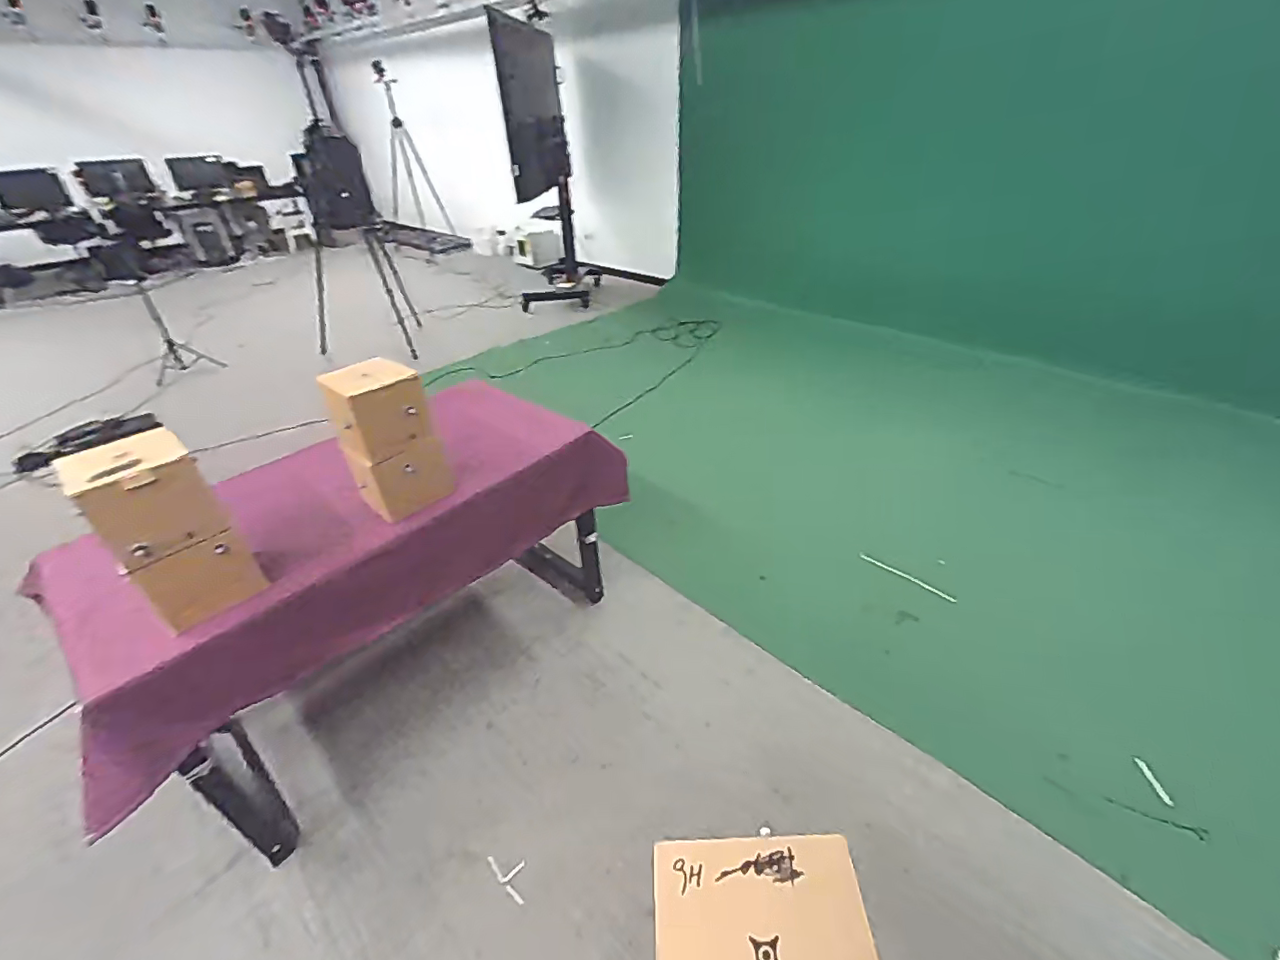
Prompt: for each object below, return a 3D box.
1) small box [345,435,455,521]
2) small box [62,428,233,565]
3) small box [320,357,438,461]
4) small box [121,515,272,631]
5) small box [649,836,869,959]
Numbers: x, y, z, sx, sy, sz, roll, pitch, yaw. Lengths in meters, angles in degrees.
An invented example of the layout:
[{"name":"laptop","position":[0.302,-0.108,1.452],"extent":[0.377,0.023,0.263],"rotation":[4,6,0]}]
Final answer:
[{"name":"small box","position":[-0.587,-0.026,1.341],"extent":[0.168,0.176,0.179],"rotation":[28,45,35]},{"name":"small box","position":[-0.893,0.030,0.992],"extent":[0.179,0.176,0.168],"rotation":[24,41,35]},{"name":"small box","position":[-0.598,-0.163,1.253],"extent":[0.179,0.176,0.168],"rotation":[25,42,35]},{"name":"small box","position":[-0.887,0.167,1.083],"extent":[0.168,0.176,0.179],"rotation":[25,42,35]},{"name":"small box","position":[0.097,0.426,0.452],"extent":[0.168,0.176,0.179],"rotation":[-4,40,2]}]
